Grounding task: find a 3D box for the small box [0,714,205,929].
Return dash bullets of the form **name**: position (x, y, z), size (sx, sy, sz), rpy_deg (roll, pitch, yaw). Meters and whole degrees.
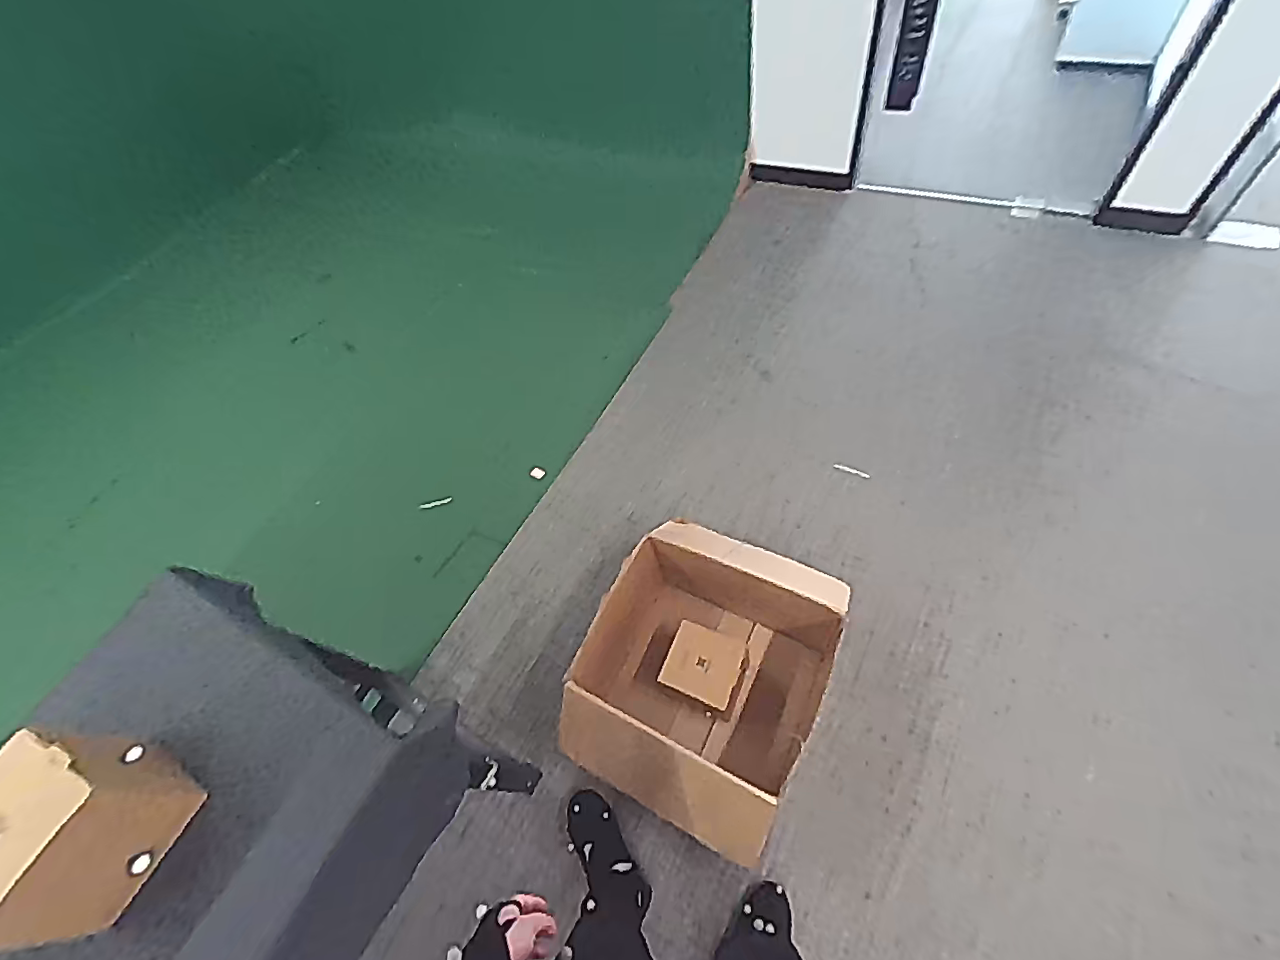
- **small box**: position (-0.735, 0.439, 0.716), size (0.168, 0.176, 0.179), rpy_deg (18, 64, 18)
